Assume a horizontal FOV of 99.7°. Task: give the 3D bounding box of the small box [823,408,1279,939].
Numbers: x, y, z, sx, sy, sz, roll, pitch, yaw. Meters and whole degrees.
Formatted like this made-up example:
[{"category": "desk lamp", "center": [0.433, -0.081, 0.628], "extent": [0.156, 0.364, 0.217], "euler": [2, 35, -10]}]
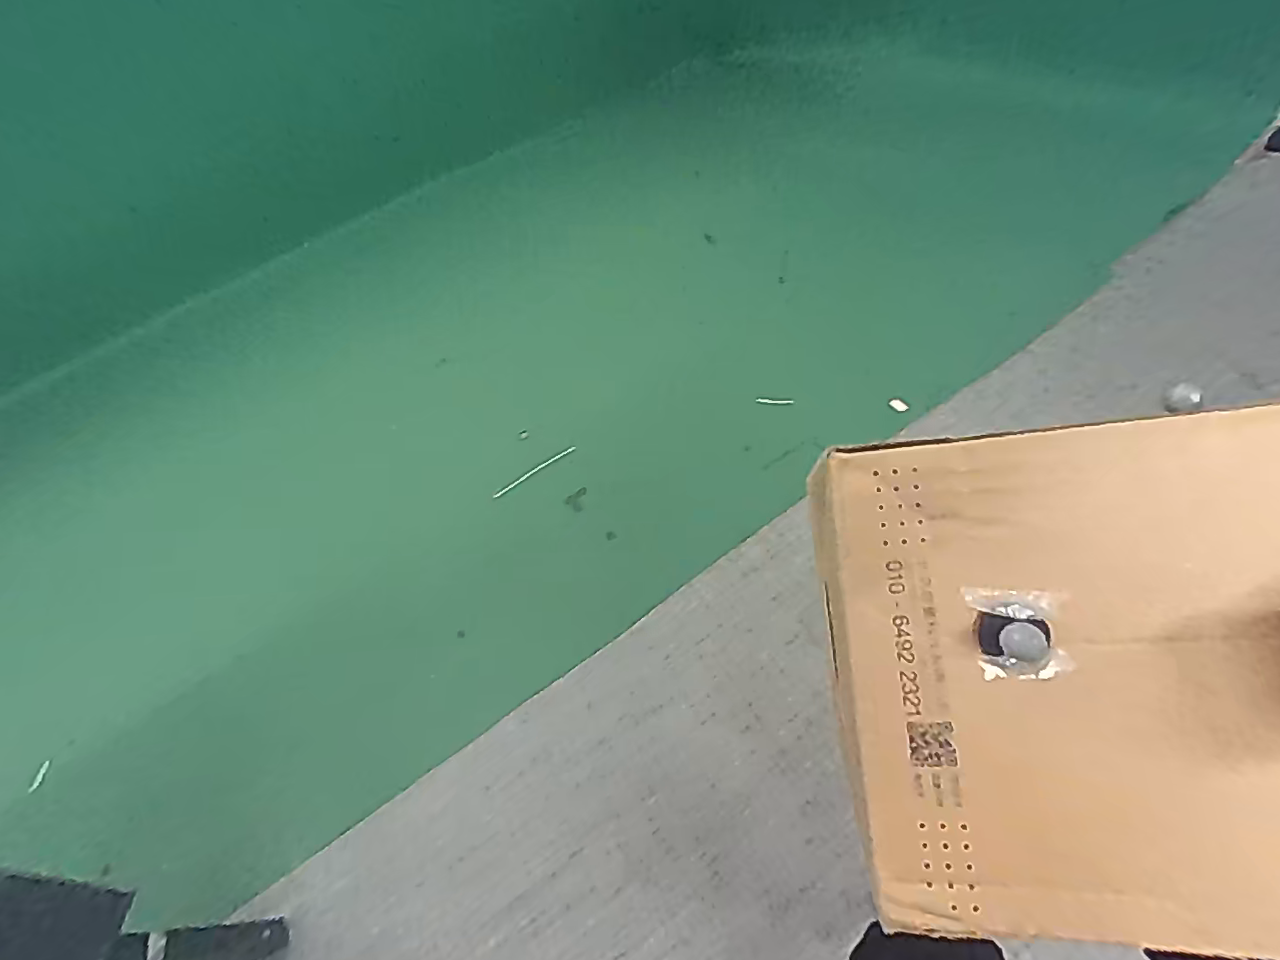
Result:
[{"category": "small box", "center": [0.184, 0.064, 0.255], "extent": [0.176, 0.179, 0.168], "euler": [-5, 85, 14]}]
